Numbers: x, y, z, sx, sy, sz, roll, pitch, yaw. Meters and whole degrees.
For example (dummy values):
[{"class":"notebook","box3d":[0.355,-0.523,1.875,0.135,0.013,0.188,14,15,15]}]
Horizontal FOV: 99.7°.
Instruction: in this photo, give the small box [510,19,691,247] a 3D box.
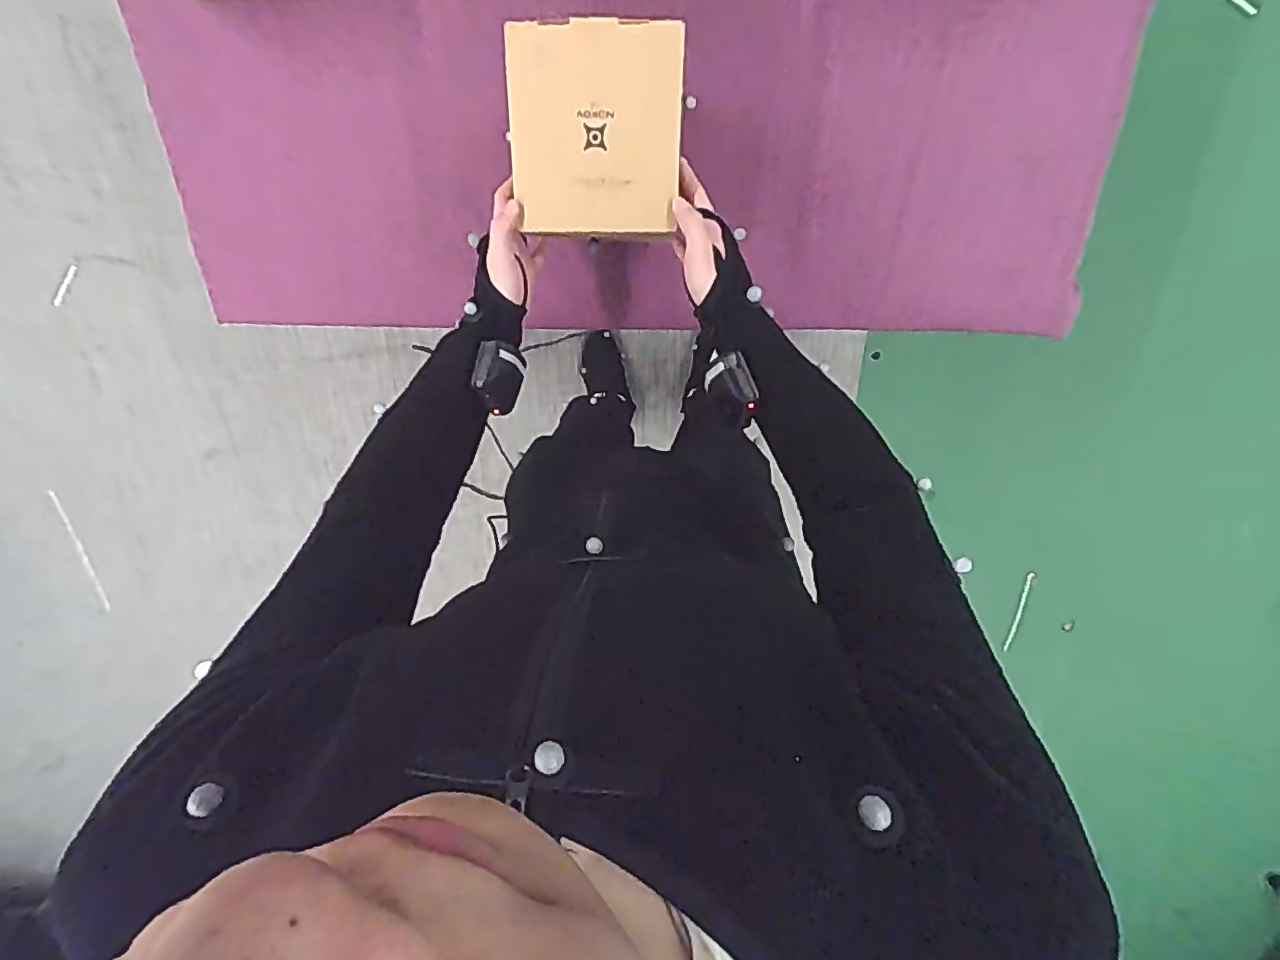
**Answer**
[{"class":"small box","box3d":[-0.036,-0.354,0.584,0.168,0.176,0.179,2,111,2]}]
